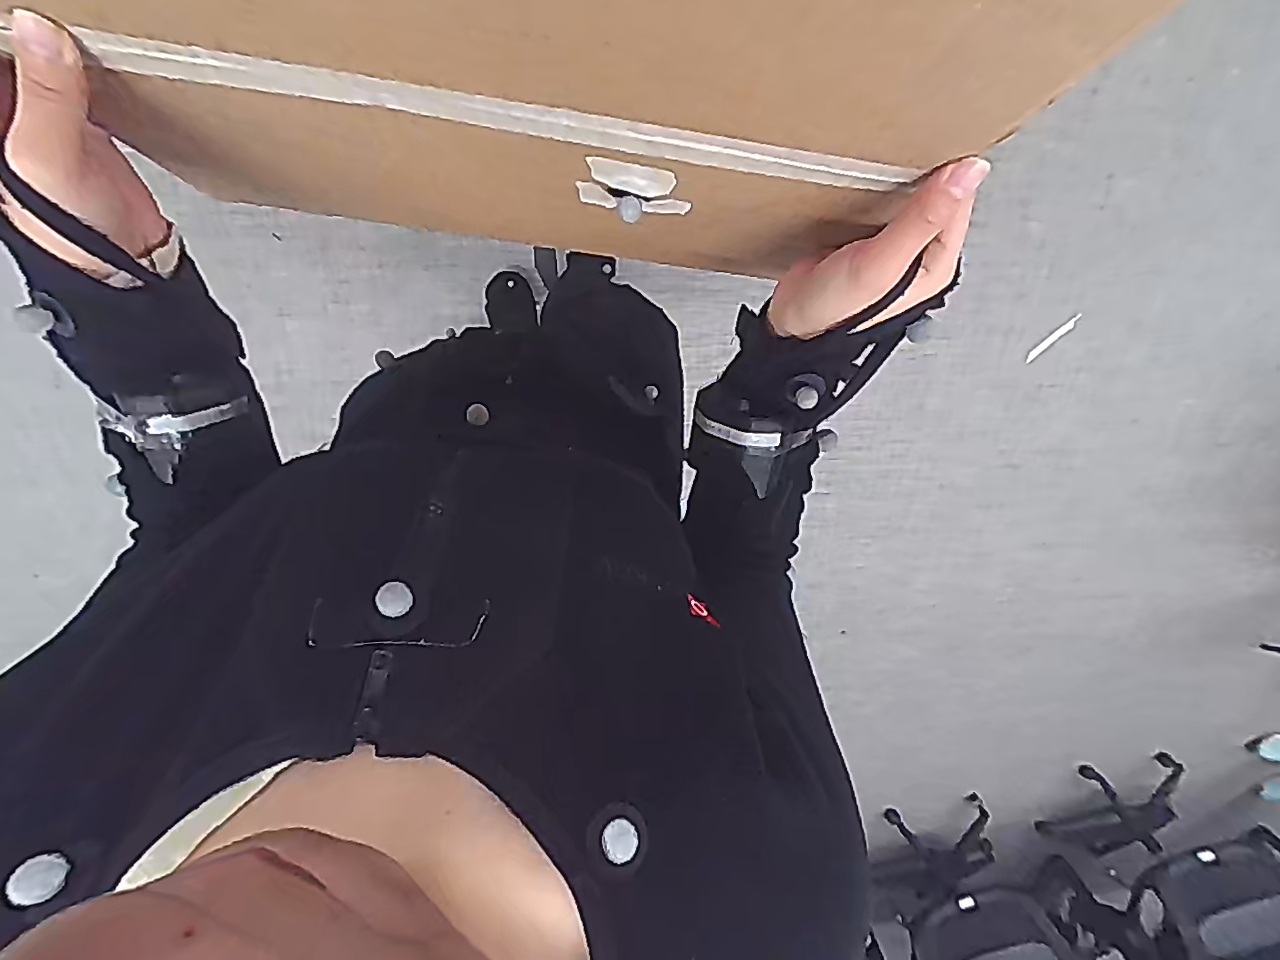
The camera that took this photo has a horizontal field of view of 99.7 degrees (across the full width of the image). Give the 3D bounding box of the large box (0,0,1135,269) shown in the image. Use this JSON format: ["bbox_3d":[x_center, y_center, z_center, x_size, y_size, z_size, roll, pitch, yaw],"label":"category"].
[{"bbox_3d":[-0.050,-0.310,0.215,0.408,0.320,0.320,5,94,-5],"label":"large box"}]
